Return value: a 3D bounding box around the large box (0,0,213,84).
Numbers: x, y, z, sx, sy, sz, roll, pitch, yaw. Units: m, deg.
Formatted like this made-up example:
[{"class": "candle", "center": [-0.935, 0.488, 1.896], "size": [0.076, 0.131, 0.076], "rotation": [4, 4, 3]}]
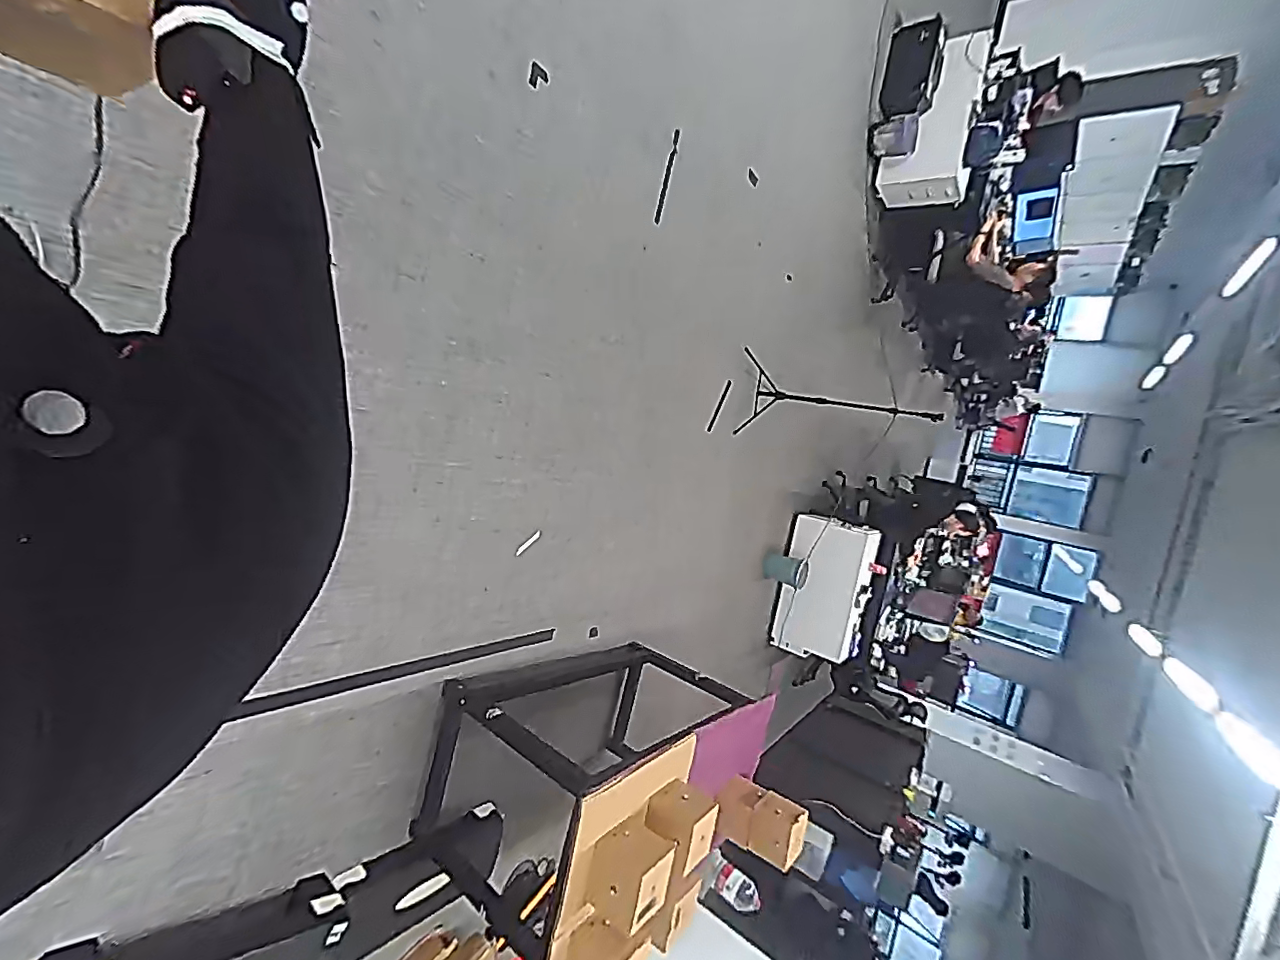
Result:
[{"class": "large box", "center": [-0.541, -0.519, 0.316], "size": [0.408, 0.320, 0.320], "rotation": [-4, 111, -54]}]
